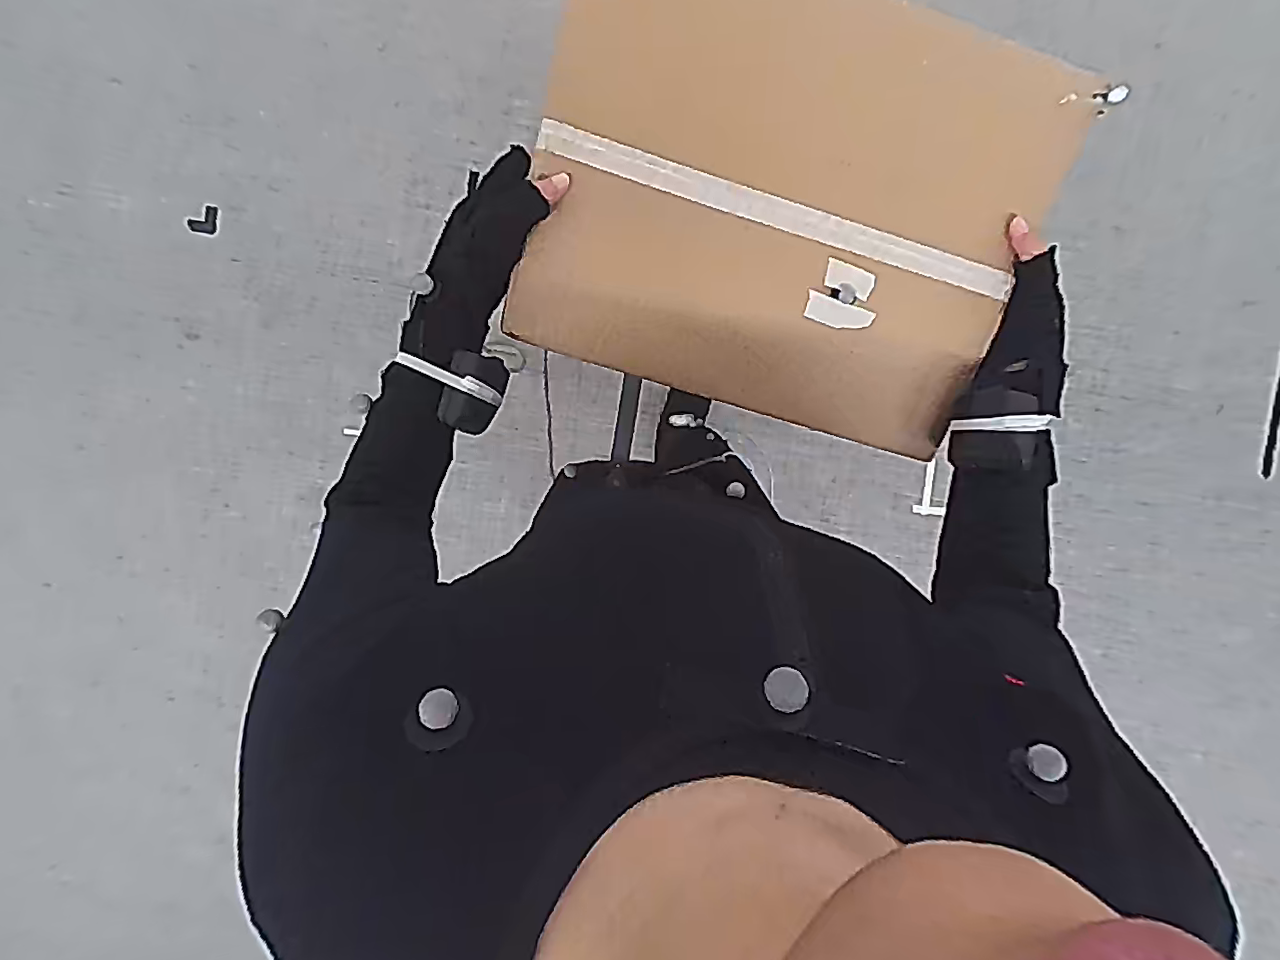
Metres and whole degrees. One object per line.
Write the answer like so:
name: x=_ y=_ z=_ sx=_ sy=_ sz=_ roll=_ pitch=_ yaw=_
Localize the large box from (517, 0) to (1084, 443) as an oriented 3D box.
large box: x=0.115 y=-0.268 z=0.590 sx=0.408 sy=0.320 sz=0.320 roll=15 pitch=109 yaw=-7
